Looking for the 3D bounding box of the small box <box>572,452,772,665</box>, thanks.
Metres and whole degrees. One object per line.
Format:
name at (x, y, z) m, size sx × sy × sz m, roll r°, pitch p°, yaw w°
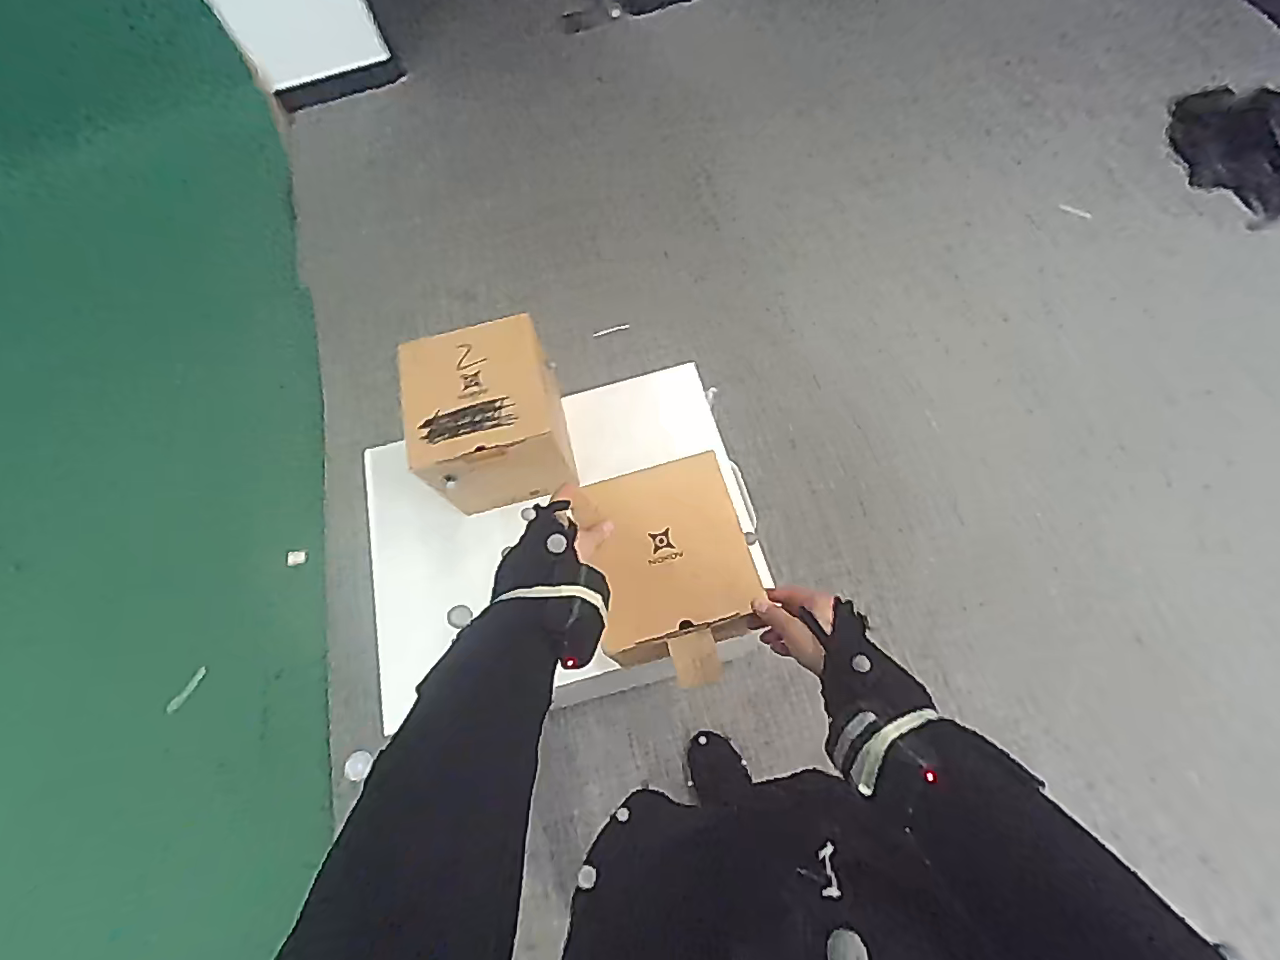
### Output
small box at (0.031, 0.097, 0.612) m, size 0.168 × 0.176 × 0.179 m, roll -16°, pitch 67°, yaw -2°
